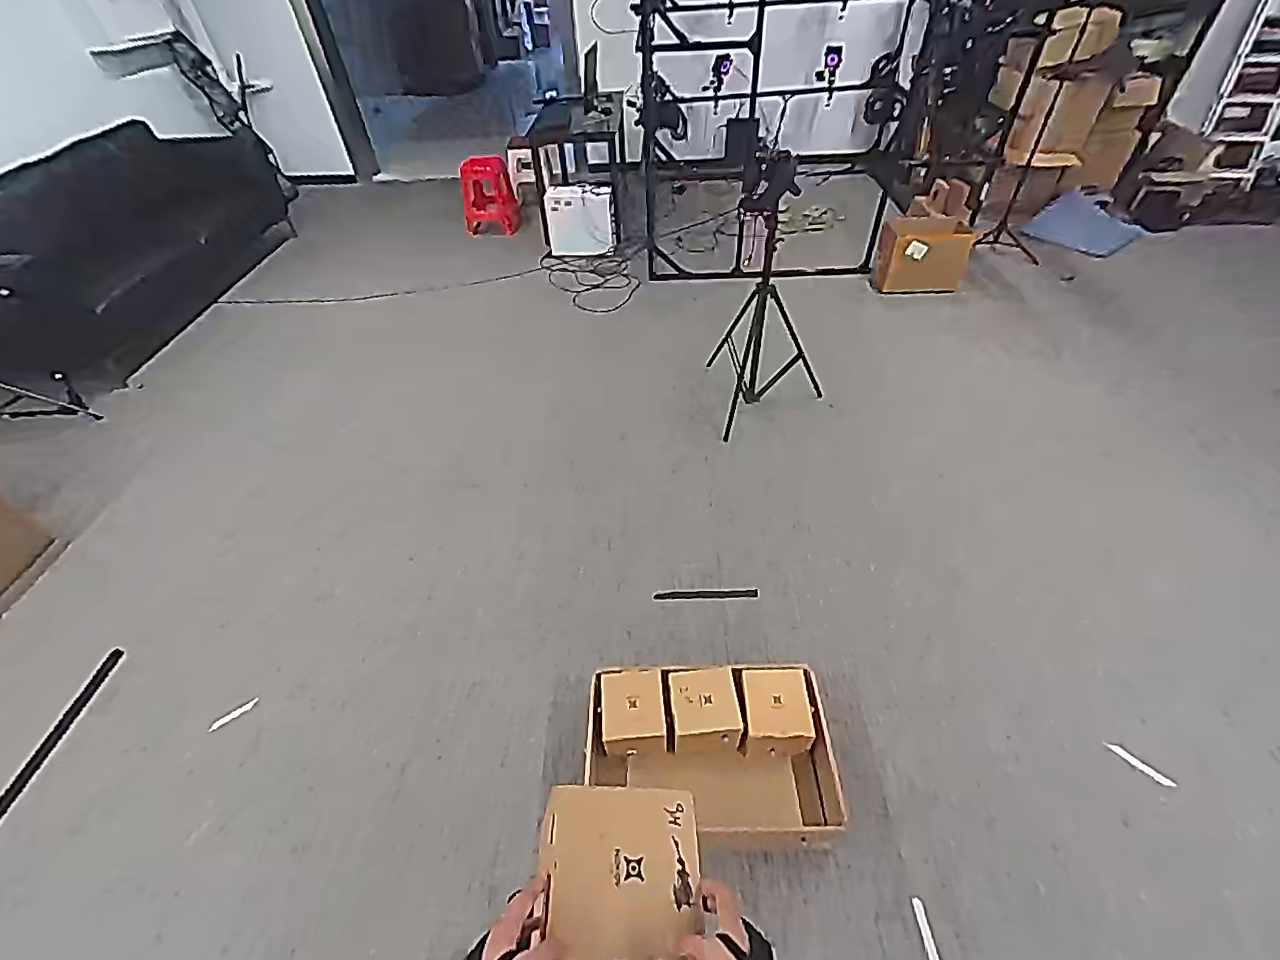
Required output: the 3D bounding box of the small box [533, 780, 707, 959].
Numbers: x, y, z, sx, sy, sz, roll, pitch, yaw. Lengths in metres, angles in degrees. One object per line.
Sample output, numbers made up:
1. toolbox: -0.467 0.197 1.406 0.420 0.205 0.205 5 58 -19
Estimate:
1. small box: -0.031 0.484 0.656 0.179 0.176 0.168 8 43 -9
